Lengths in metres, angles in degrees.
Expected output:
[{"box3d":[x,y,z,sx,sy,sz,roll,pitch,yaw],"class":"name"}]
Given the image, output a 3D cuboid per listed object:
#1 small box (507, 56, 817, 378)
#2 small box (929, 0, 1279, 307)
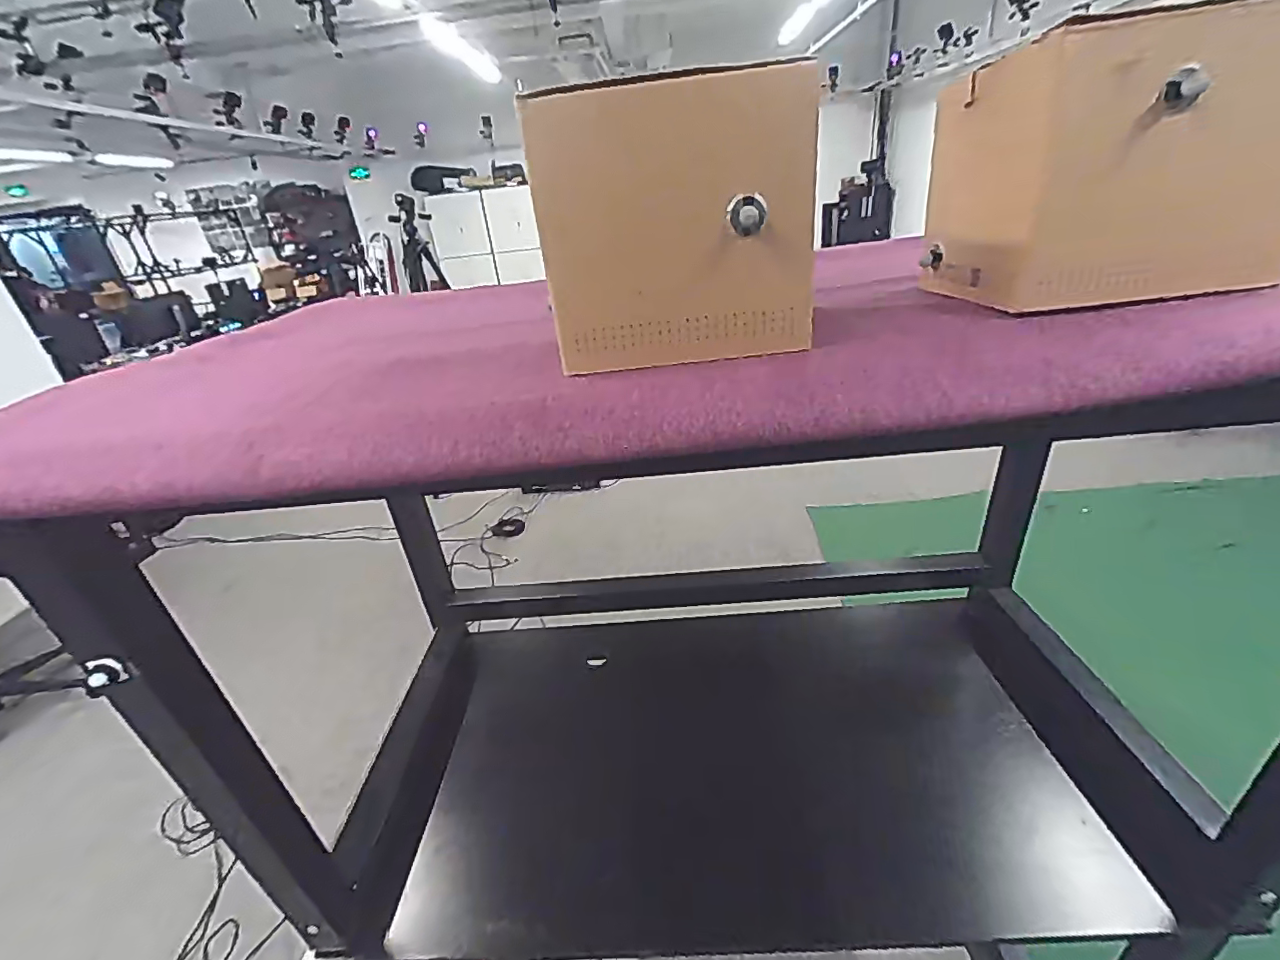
[{"box3d":[0.020,-0.187,0.405,0.179,0.176,0.168,-7,28,2],"class":"small box"},{"box3d":[0.340,-0.233,0.408,0.179,0.176,0.168,-5,26,5],"class":"small box"}]
